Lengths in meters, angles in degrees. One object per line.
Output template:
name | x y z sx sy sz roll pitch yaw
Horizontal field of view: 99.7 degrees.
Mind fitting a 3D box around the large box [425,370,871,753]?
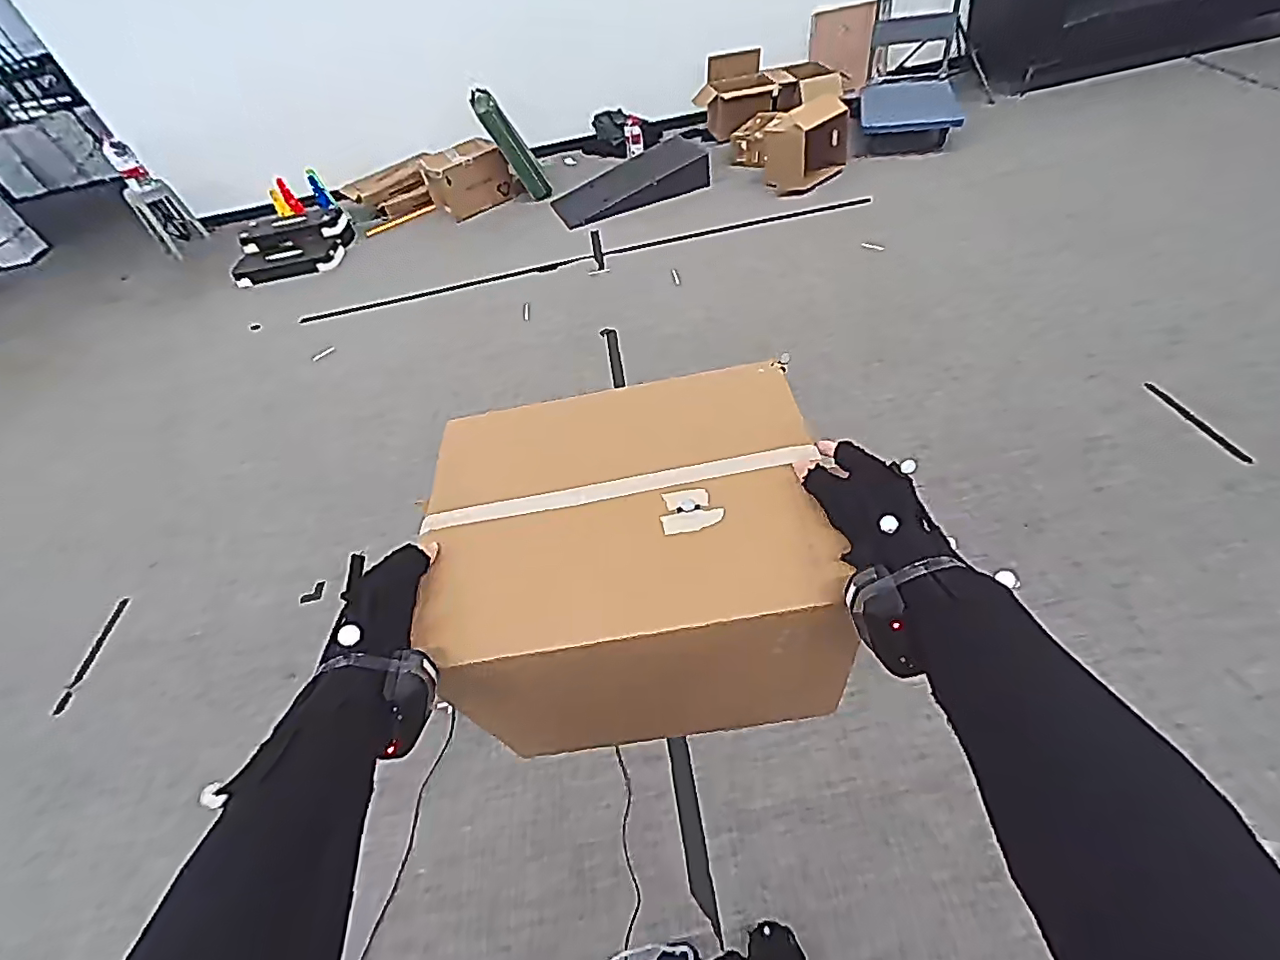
large box | 0.009 0.110 0.674 0.408 0.320 0.320 -10 50 3
